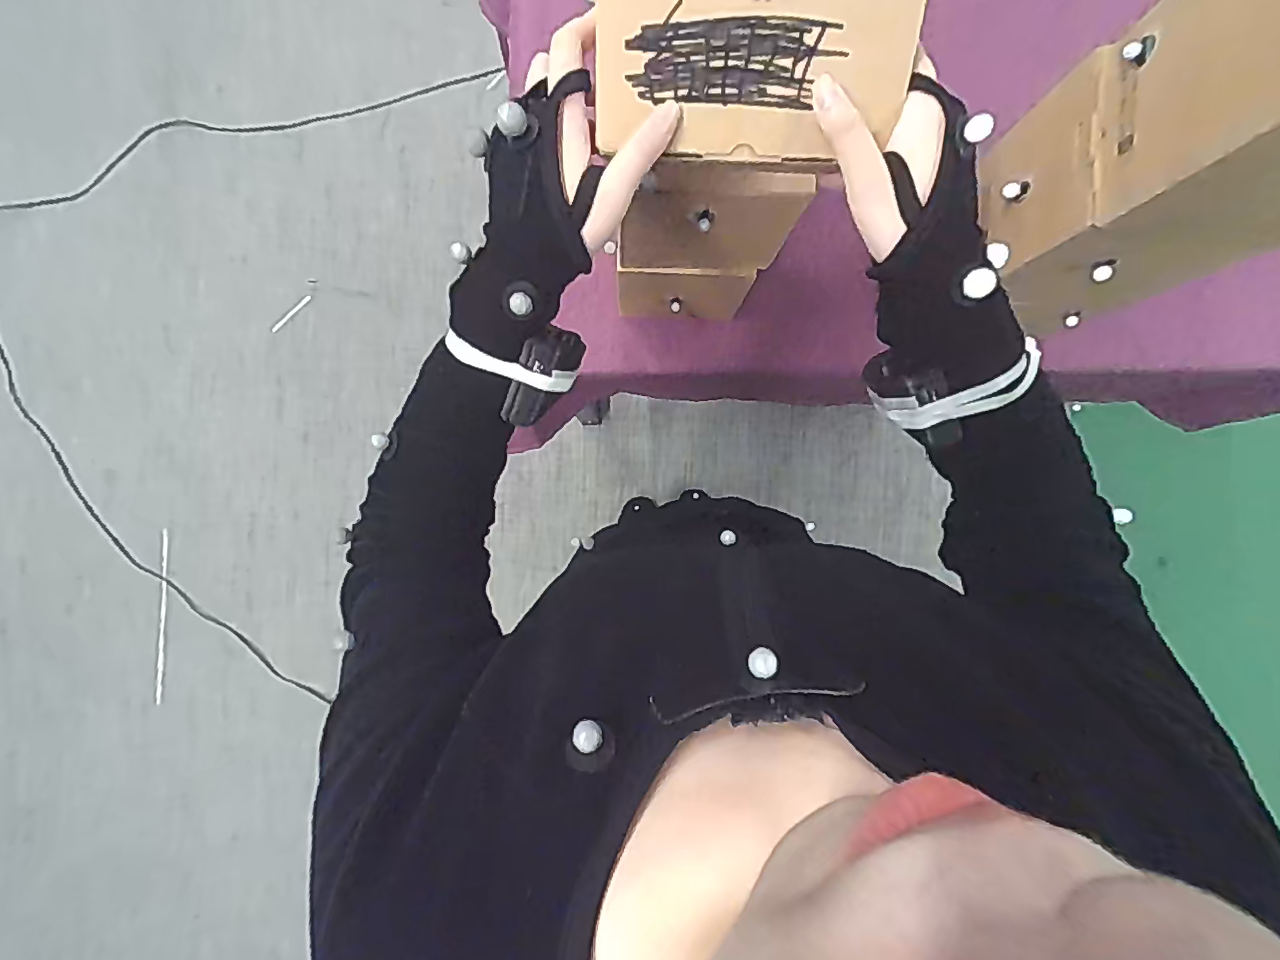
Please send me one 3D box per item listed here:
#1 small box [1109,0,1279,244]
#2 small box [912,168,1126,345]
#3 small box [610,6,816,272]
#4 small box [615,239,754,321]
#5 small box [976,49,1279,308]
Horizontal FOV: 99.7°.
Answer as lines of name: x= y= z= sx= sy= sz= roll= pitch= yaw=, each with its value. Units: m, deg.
small box: x=0.487 y=-0.288 z=0.384 sx=0.179 sy=0.176 sz=0.168 roll=5 pitch=88 yaw=-2
small box: x=0.482 y=-0.281 z=0.713 sx=0.179 sy=0.176 sz=0.168 roll=1 pitch=89 yaw=-1
small box: x=0.063 y=-0.323 z=0.545 sx=0.179 sy=0.176 sz=0.168 roll=1 pitch=90 yaw=-1
small box: x=0.056 y=-0.319 z=0.709 sx=0.168 sy=0.176 sz=0.179 roll=2 pitch=88 yaw=-1
small box: x=0.477 y=-0.286 z=0.549 sx=0.179 sy=0.176 sz=0.168 roll=5 pitch=89 yaw=0
